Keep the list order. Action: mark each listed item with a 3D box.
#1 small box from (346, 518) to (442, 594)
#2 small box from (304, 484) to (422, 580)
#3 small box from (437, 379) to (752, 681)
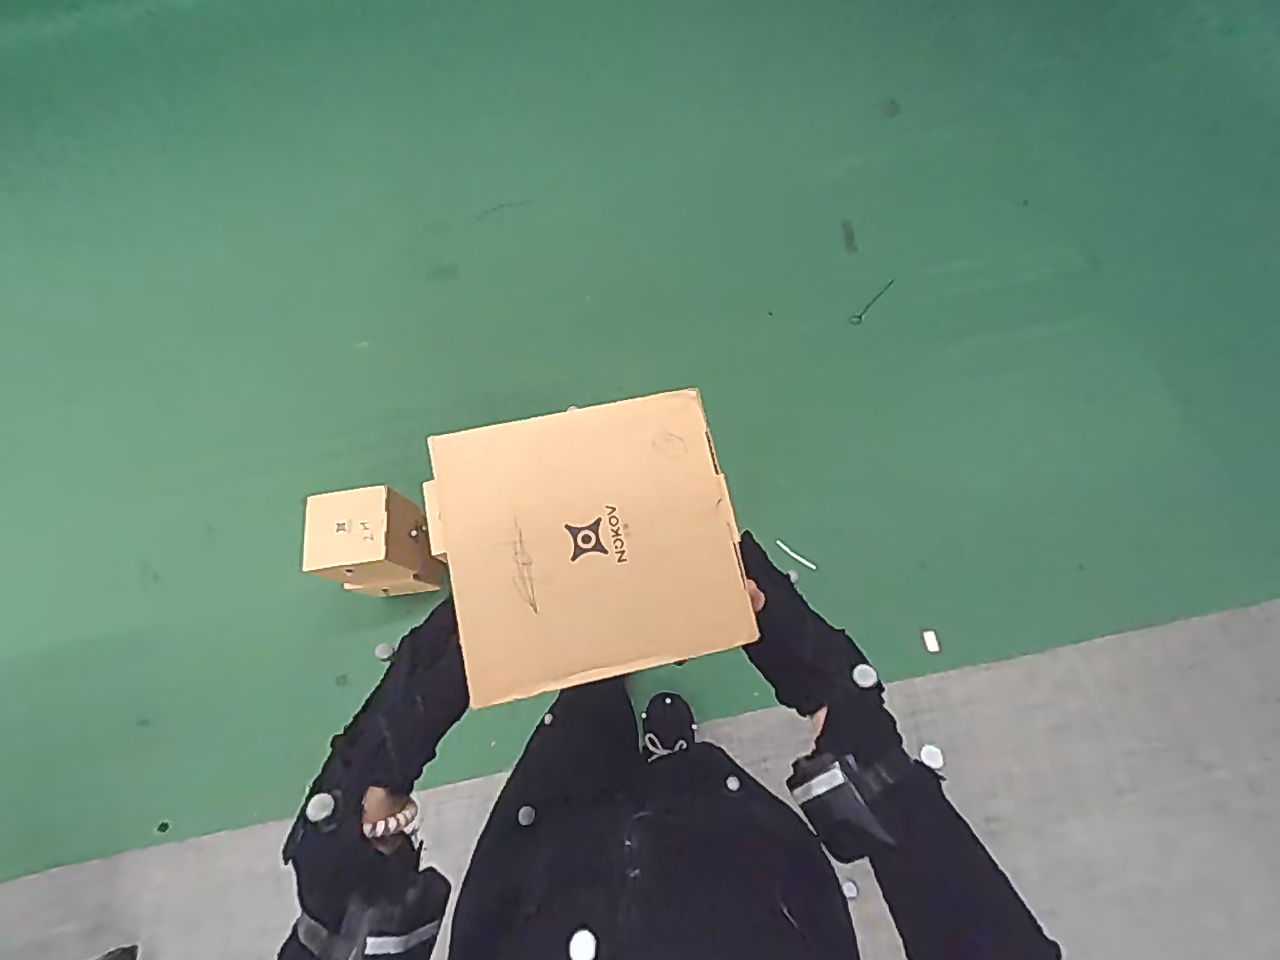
[{"bbox_3d":[-0.611,0.188,1.362,0.168,0.176,0.179,-7,70,0],"label":"small box"},{"bbox_3d":[-0.610,0.123,1.210,0.179,0.176,0.168,-8,71,0],"label":"small box"},{"bbox_3d":[-0.035,0.040,0.413,0.179,0.176,0.168,-10,79,-5],"label":"small box"}]
